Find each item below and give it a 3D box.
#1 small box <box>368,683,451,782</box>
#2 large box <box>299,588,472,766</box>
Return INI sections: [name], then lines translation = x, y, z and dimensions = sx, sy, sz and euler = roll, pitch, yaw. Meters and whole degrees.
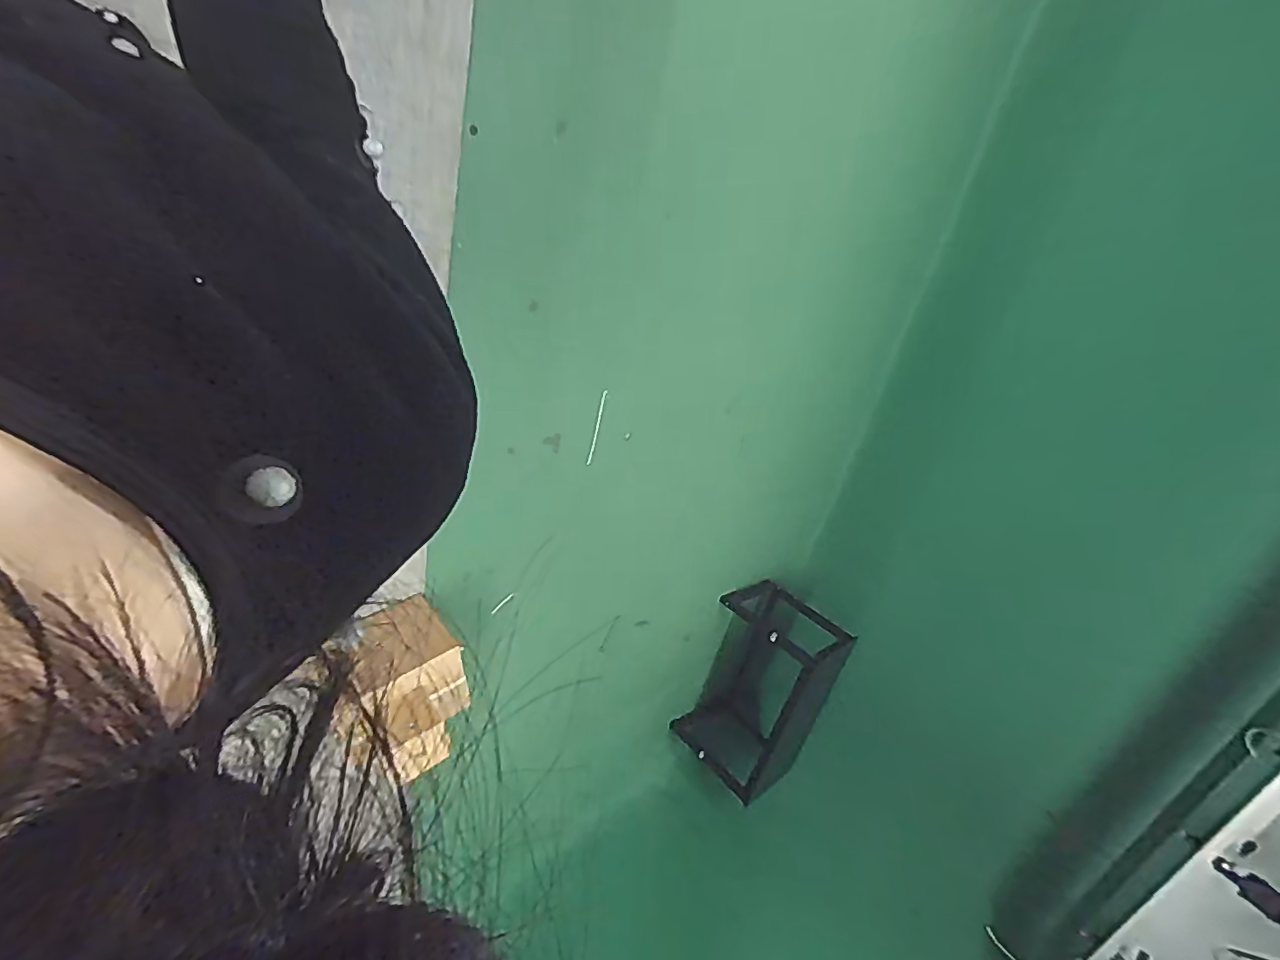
[small box]
translation = -0.693, 0.752, 1.630
dimensions = 0.179, 0.176, 0.168
euler = -20, 128, -36
[large box]
translation = -0.833, 0.634, 1.797
dimensions = 0.408, 0.320, 0.320
euler = -24, 133, -35
